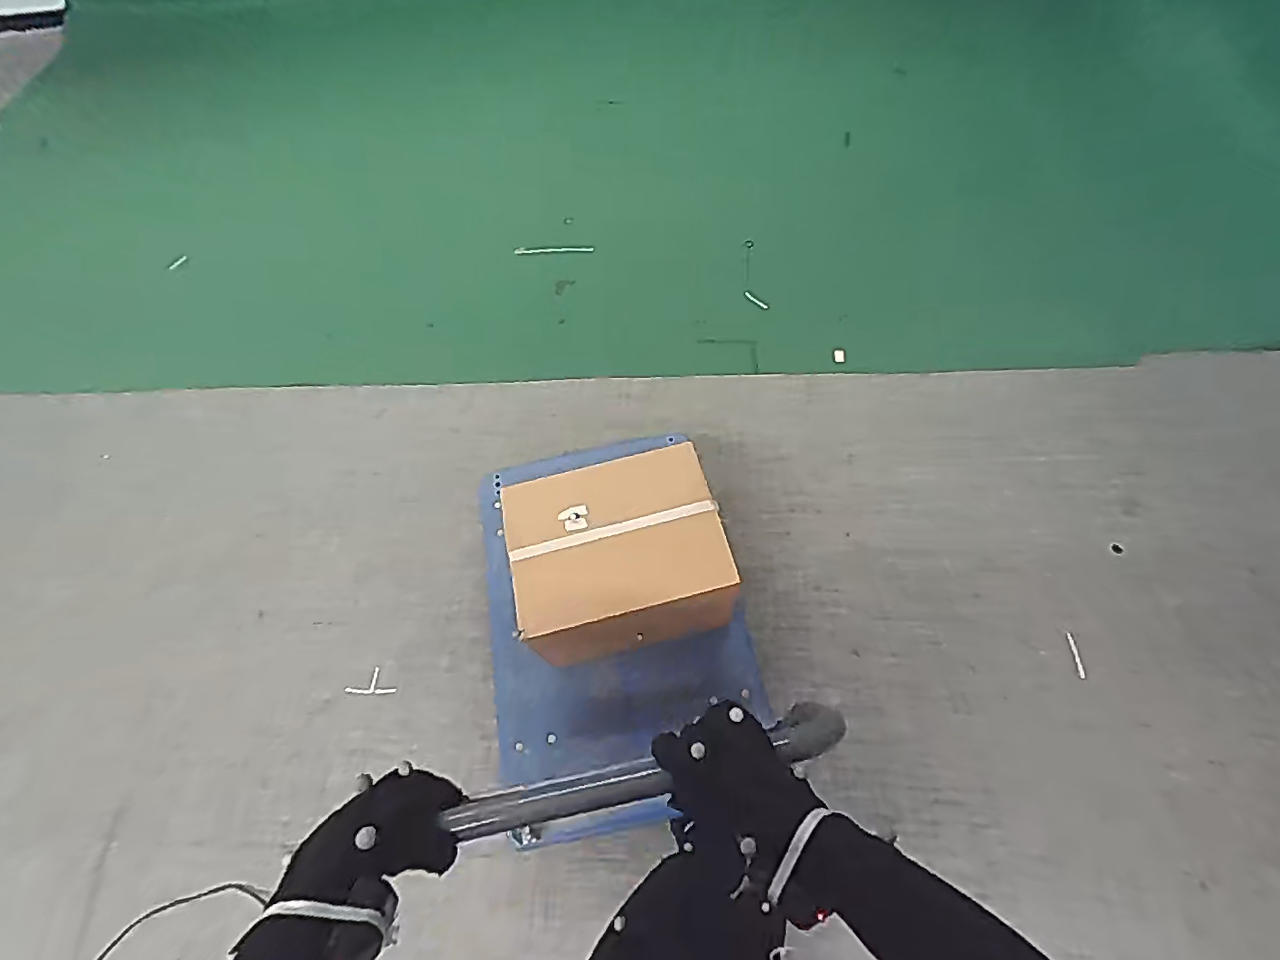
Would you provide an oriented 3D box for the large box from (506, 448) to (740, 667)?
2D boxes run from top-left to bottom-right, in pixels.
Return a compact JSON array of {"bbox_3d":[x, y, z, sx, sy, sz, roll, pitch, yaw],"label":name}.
[{"bbox_3d":[-0.031,0.182,1.174,0.408,0.320,0.320,-15,62,-2],"label":"large box"}]
